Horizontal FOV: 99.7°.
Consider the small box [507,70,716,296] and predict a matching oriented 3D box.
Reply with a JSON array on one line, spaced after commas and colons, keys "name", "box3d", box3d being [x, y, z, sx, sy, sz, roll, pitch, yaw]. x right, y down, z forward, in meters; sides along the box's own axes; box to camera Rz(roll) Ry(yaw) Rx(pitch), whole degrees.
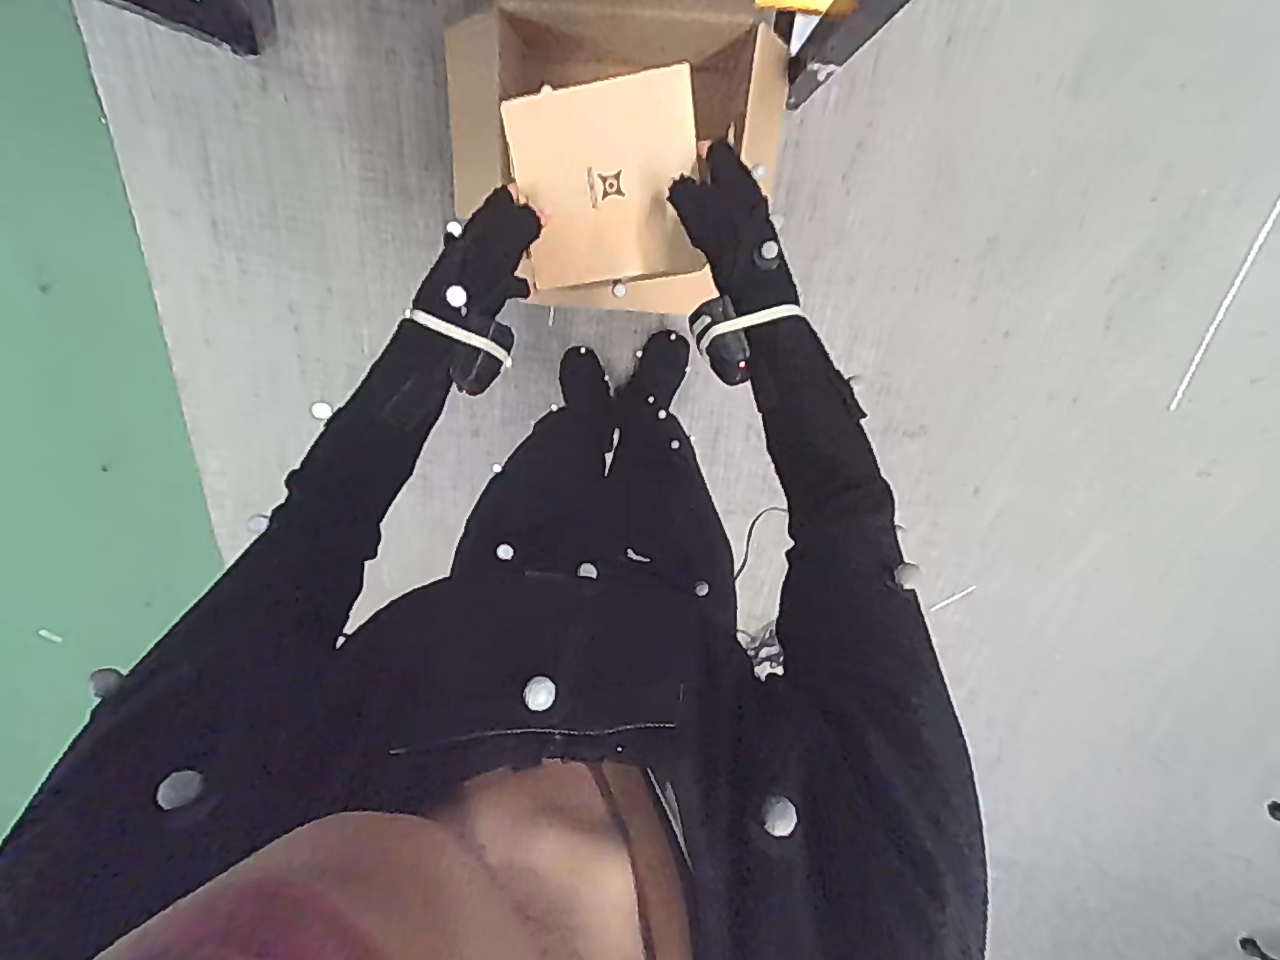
[{"name": "small box", "box3d": [-0.017, -0.298, 0.578, 0.179, 0.176, 0.168, -7, 109, 9]}]
